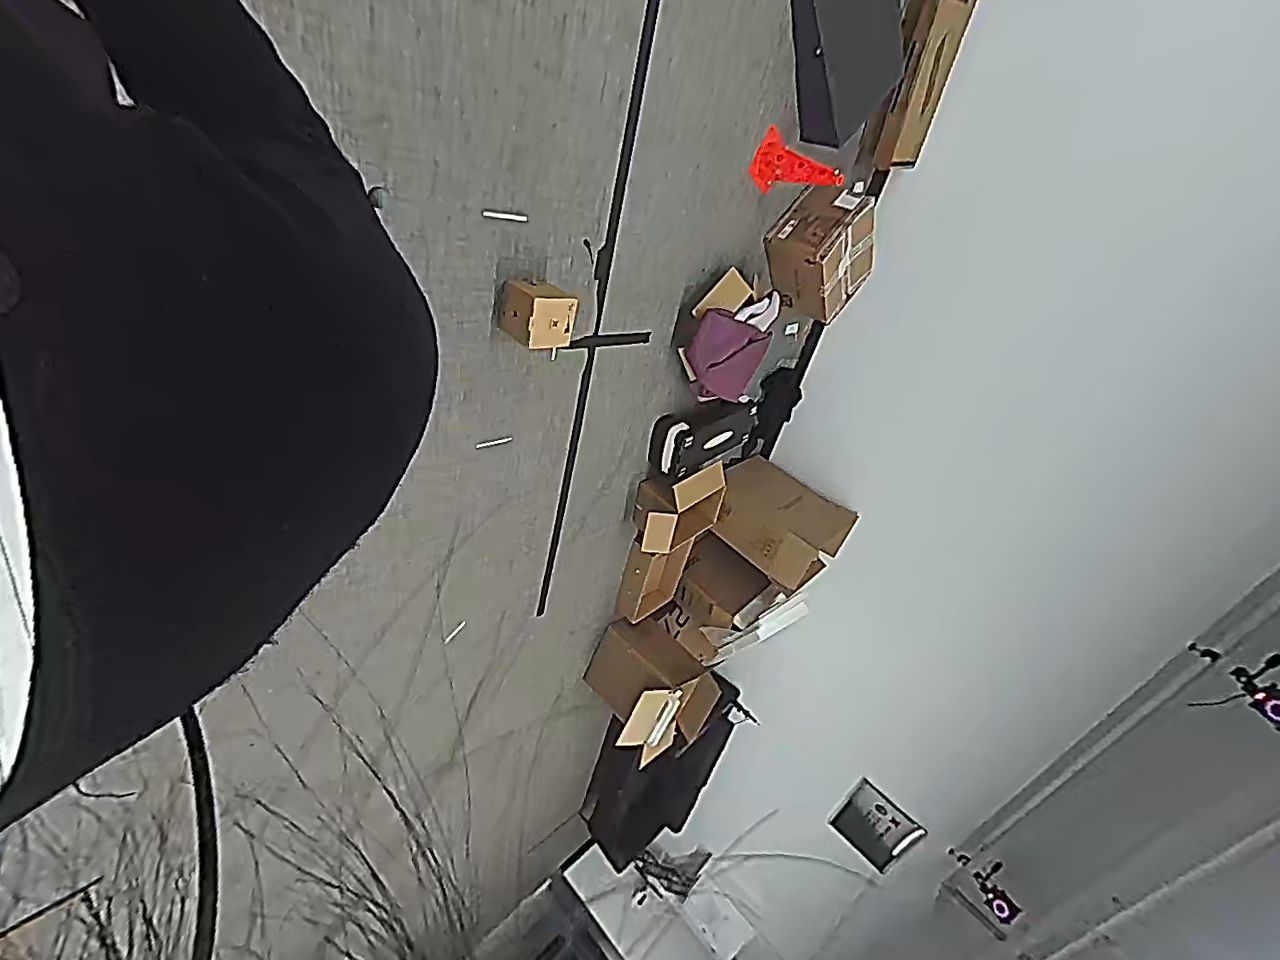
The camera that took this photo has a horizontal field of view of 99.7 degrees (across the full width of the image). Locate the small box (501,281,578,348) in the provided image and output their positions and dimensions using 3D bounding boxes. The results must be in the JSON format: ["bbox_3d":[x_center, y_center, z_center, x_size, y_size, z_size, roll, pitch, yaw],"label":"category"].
[{"bbox_3d":[-0.334,-0.543,1.770,0.179,0.176,0.168,-18,134,-44],"label":"small box"}]
